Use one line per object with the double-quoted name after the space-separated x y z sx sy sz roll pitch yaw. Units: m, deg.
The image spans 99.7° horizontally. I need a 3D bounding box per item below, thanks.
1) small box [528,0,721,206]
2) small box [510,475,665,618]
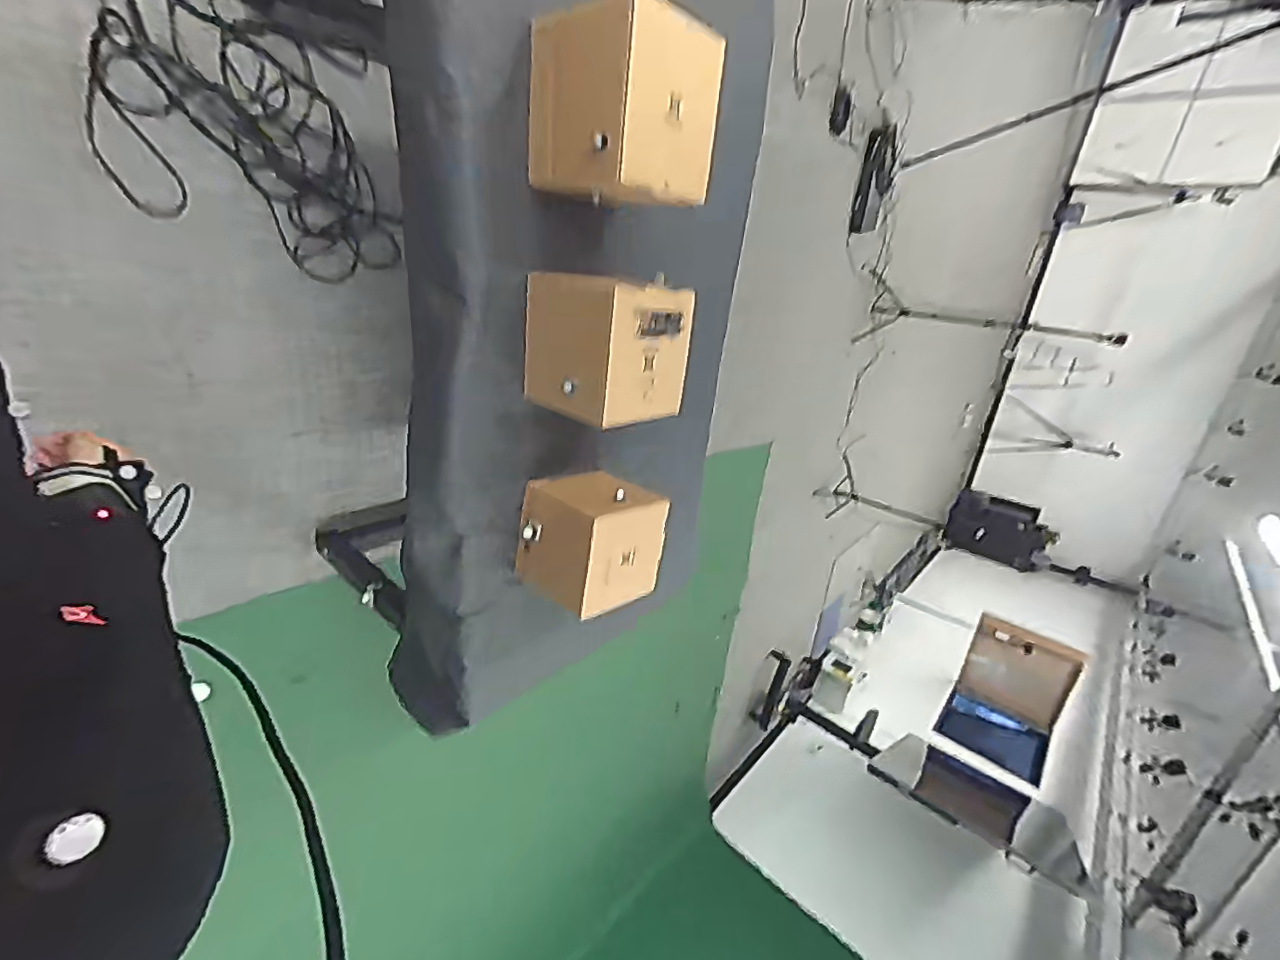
-0.024 -0.451 0.674 0.168 0.176 0.179 -19 124 -46 "small box"
-0.087 0.096 0.891 0.179 0.176 0.168 -10 115 -48 "small box"
